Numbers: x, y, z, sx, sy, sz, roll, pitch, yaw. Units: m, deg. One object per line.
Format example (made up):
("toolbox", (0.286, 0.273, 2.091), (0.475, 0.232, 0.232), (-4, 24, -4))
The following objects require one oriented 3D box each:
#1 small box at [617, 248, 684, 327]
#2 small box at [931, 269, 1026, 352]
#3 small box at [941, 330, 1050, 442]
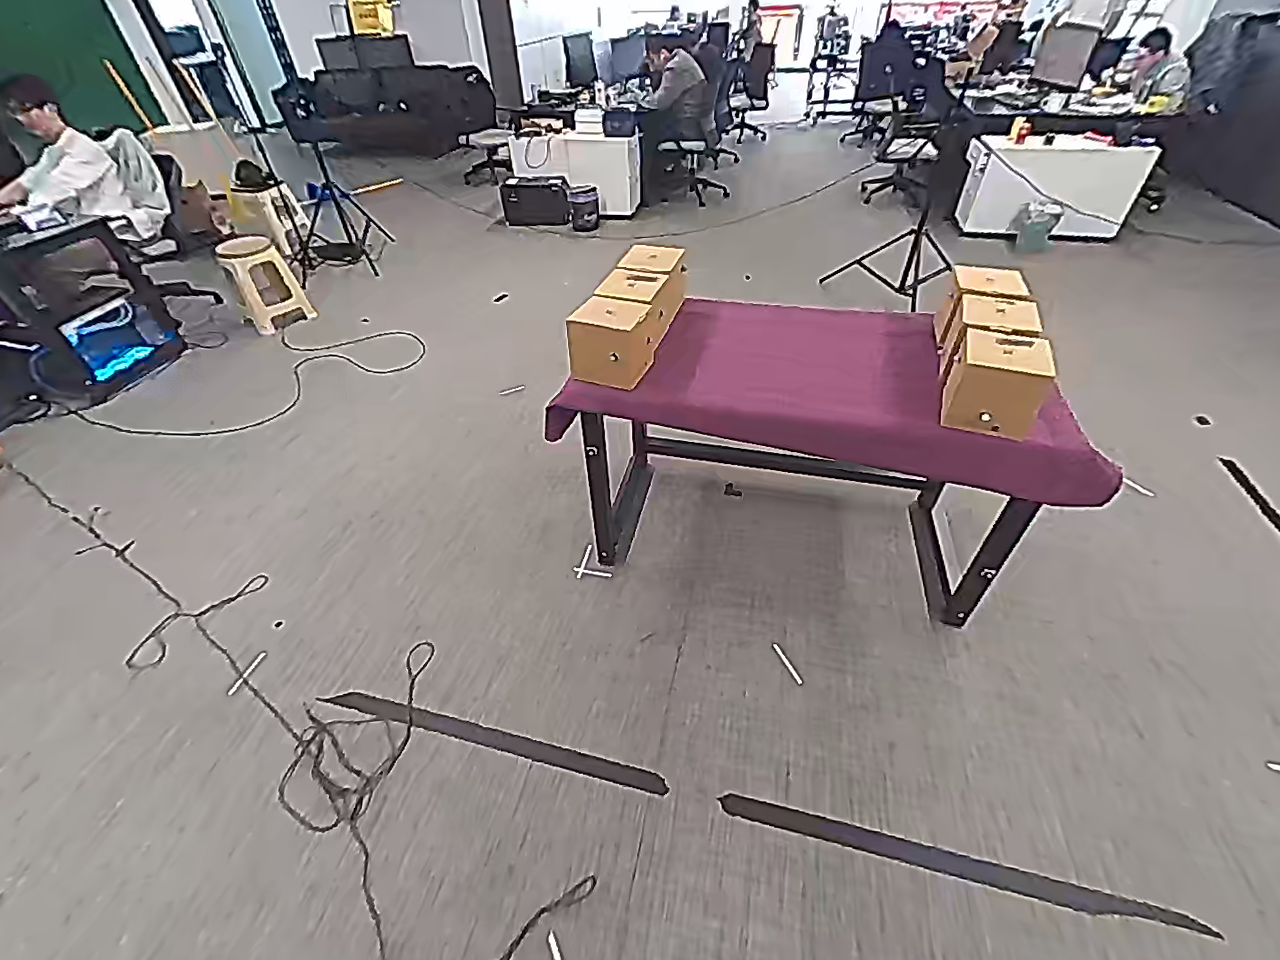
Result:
("small box", (0.034, -0.598, 1.678), (0.168, 0.176, 0.179), (11, 45, 14))
("small box", (0.925, -0.463, 1.498), (0.168, 0.176, 0.179), (12, 43, 14))
("small box", (0.801, -0.215, 1.229), (0.168, 0.176, 0.179), (15, 49, 22))
